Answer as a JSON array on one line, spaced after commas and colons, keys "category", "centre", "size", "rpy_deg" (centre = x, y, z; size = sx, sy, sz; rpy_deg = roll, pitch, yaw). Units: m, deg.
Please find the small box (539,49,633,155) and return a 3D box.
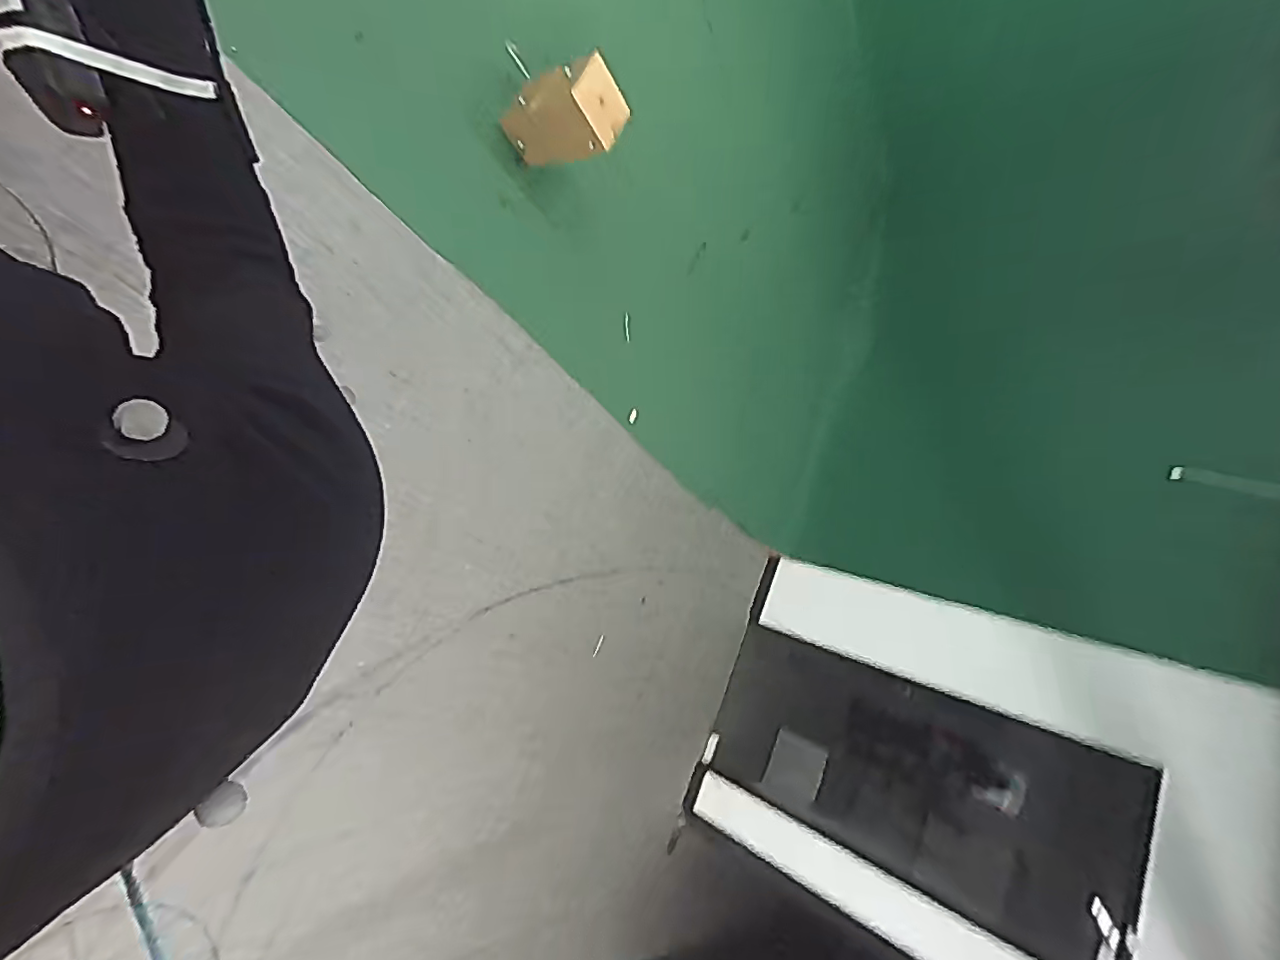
[{"category": "small box", "centre": [-0.157, -1.064, 1.541], "size": [0.179, 0.176, 0.168], "rpy_deg": [41, 69, -49]}]
